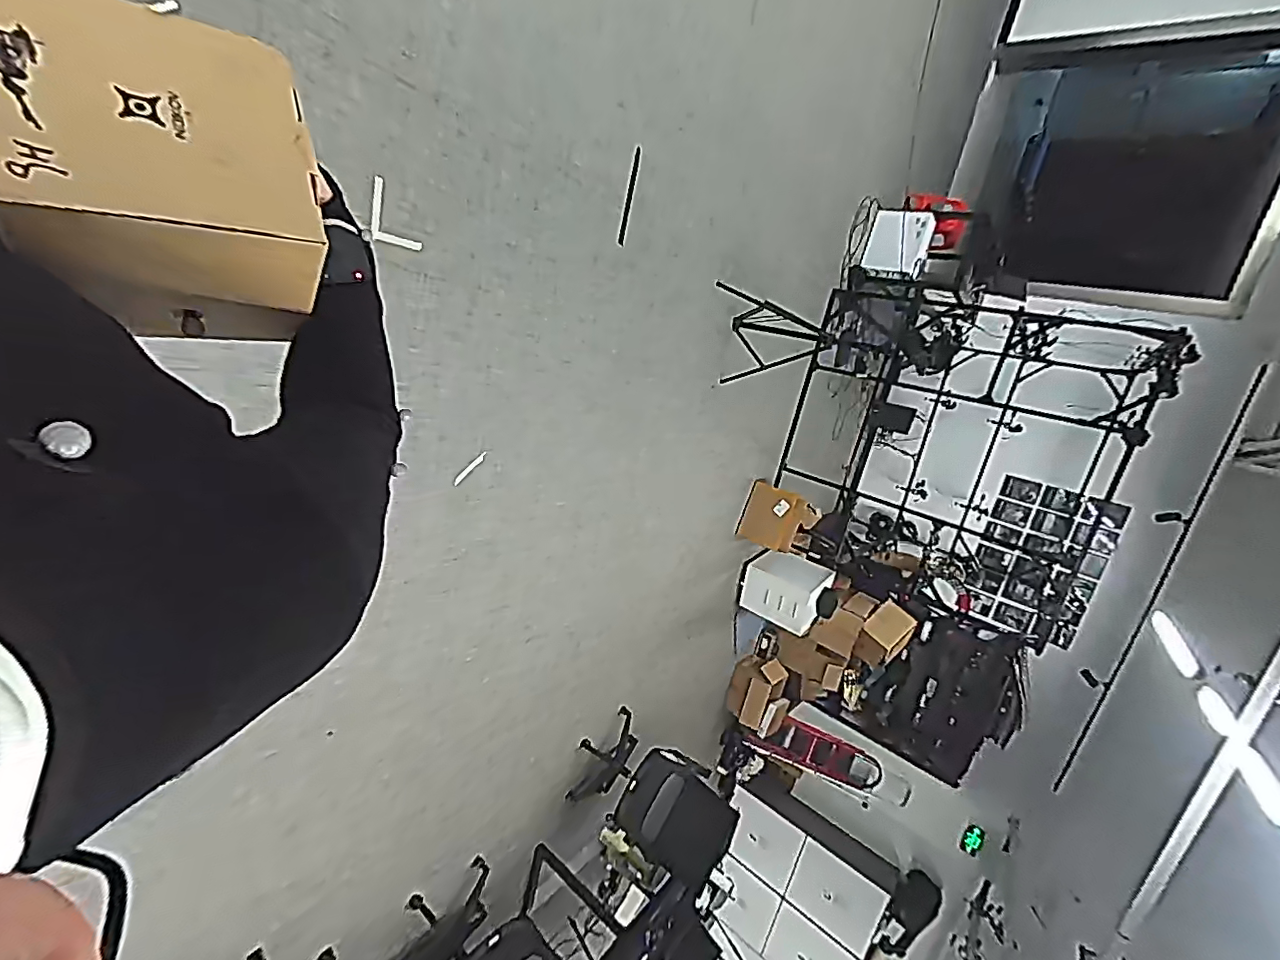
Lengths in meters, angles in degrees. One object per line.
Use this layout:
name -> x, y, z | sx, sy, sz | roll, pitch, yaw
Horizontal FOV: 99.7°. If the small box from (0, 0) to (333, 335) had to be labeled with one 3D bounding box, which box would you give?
small box -> -0.375, -0.231, 0.441 | 0.179, 0.176, 0.168 | -9, 81, -40
